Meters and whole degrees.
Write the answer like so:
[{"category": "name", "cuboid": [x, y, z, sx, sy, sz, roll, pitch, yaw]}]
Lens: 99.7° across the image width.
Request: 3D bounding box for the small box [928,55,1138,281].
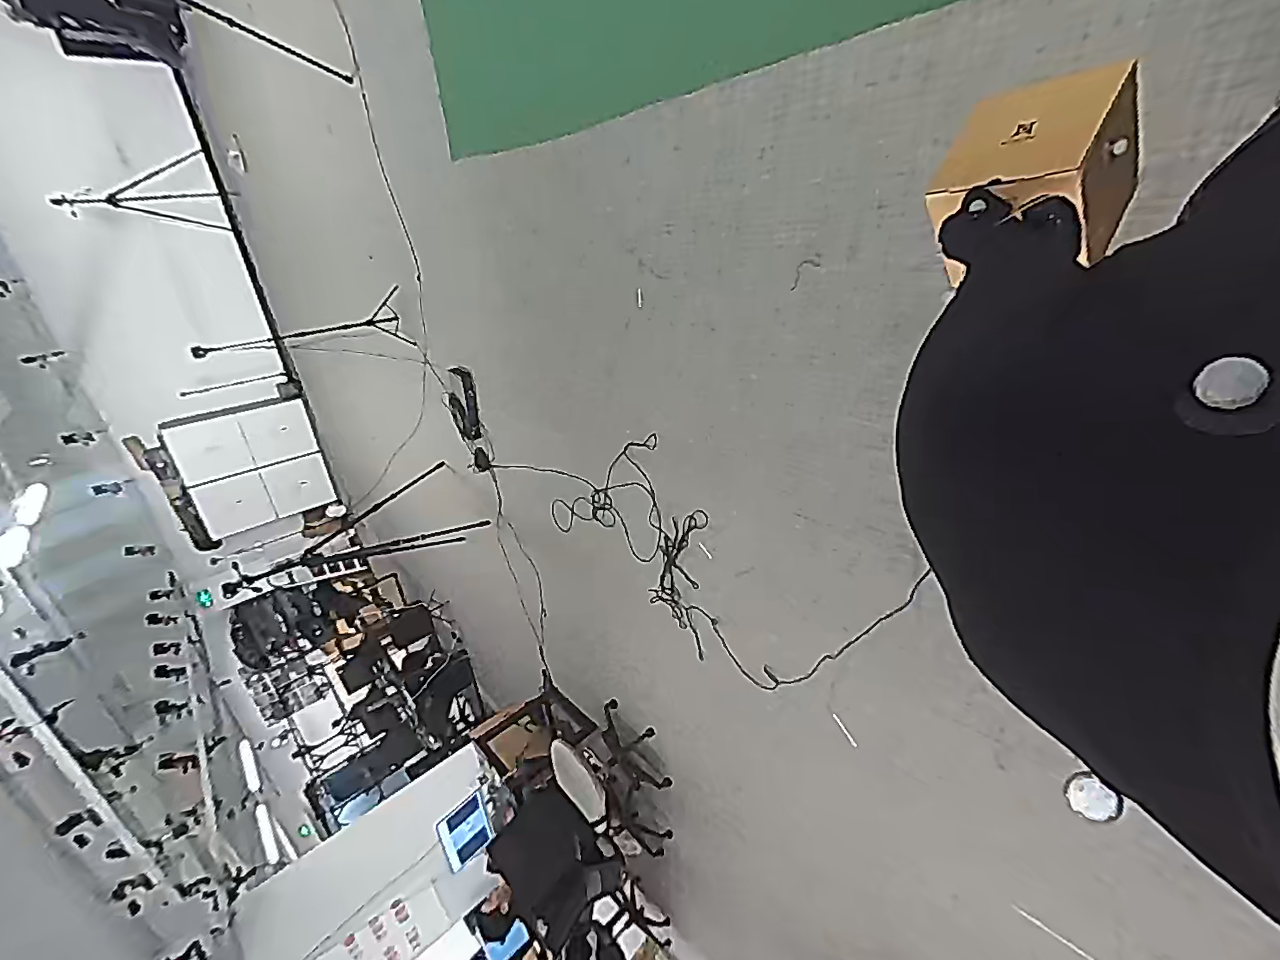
[{"category": "small box", "cuboid": [0.513, -0.387, 0.706, 0.168, 0.179, 0.176, 21, 166, 49]}]
